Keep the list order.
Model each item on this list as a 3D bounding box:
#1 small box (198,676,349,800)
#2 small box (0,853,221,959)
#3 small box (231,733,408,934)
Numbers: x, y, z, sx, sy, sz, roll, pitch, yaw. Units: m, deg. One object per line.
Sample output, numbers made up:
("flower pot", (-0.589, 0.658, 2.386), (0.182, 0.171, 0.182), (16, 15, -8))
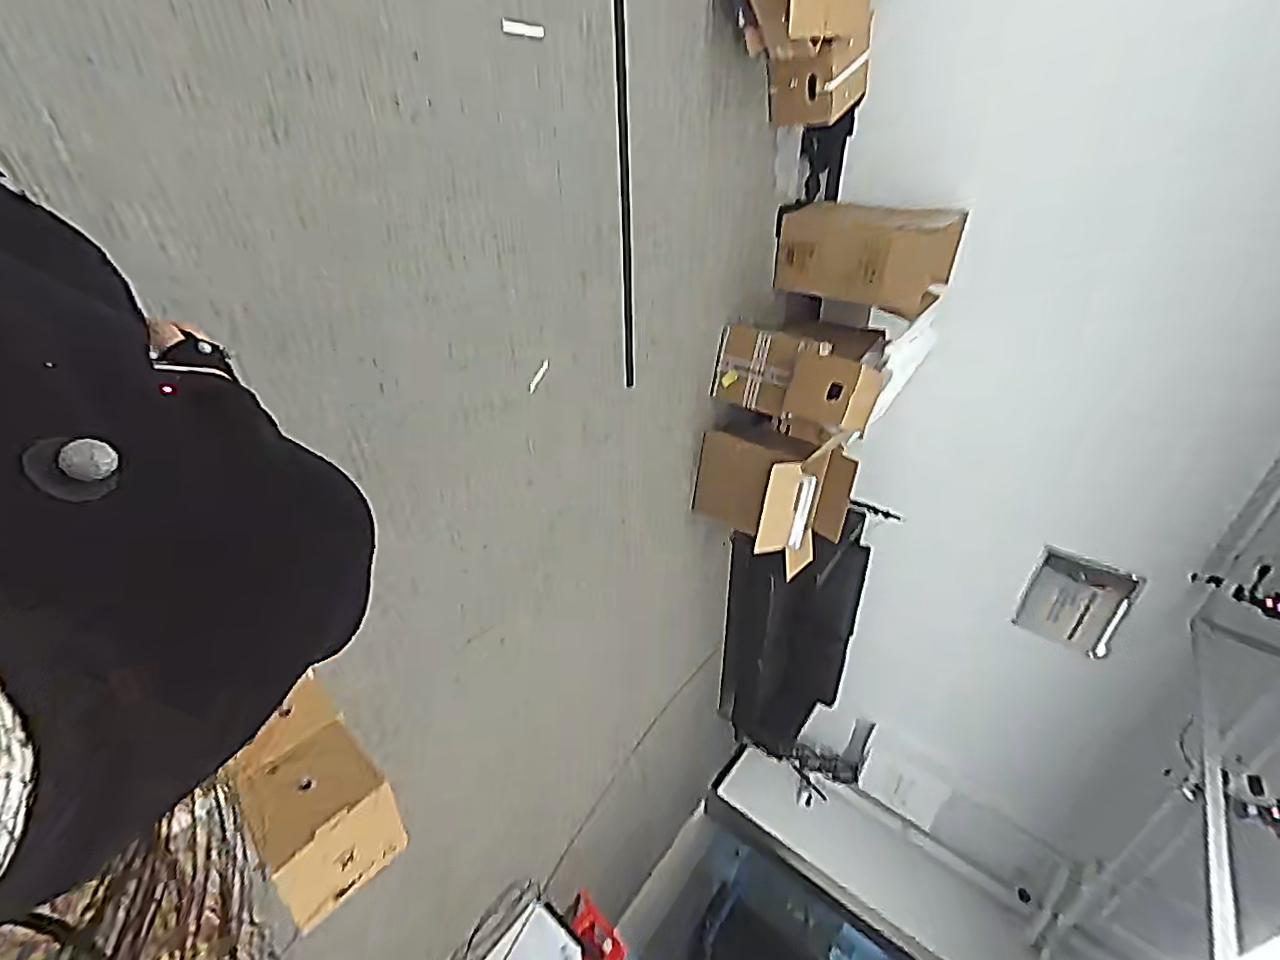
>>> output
("small box", (-0.616, 0.468, 0.929), (0.168, 0.176, 0.179), (-28, 130, -44))
("small box", (-0.647, 0.617, 0.669), (0.168, 0.176, 0.179), (-31, 131, -44))
("small box", (-0.493, 0.529, 0.839), (0.168, 0.176, 0.179), (-29, 130, -43))
